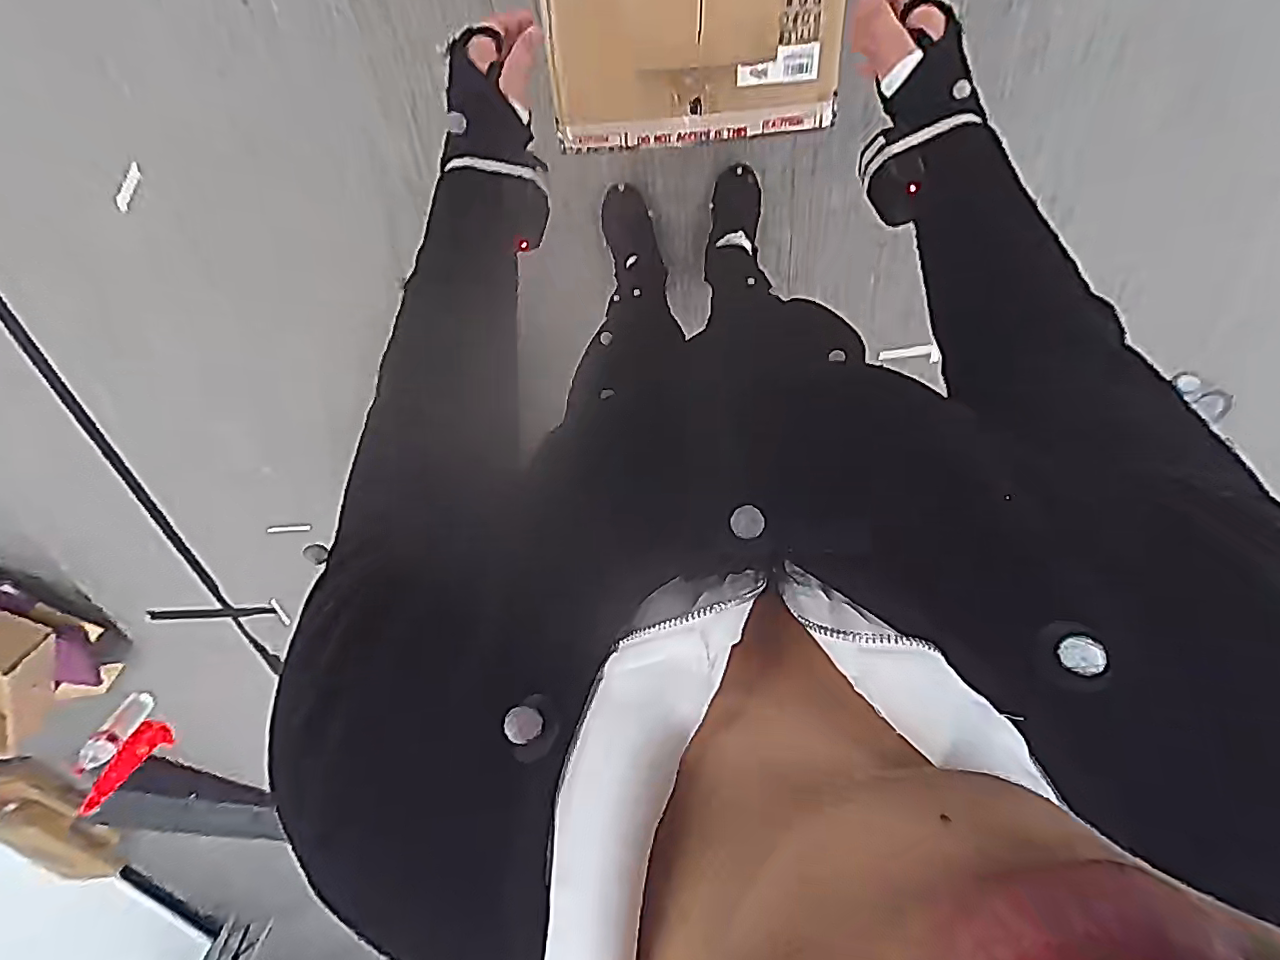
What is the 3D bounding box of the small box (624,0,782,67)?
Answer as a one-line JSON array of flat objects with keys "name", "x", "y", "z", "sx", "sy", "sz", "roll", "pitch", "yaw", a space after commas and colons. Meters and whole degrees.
[{"name": "small box", "x": 0.064, "y": -0.573, "z": 0.600, "sx": 0.168, "sy": 0.176, "sz": 0.179, "roll": -2, "pitch": 128, "yaw": 3}]
